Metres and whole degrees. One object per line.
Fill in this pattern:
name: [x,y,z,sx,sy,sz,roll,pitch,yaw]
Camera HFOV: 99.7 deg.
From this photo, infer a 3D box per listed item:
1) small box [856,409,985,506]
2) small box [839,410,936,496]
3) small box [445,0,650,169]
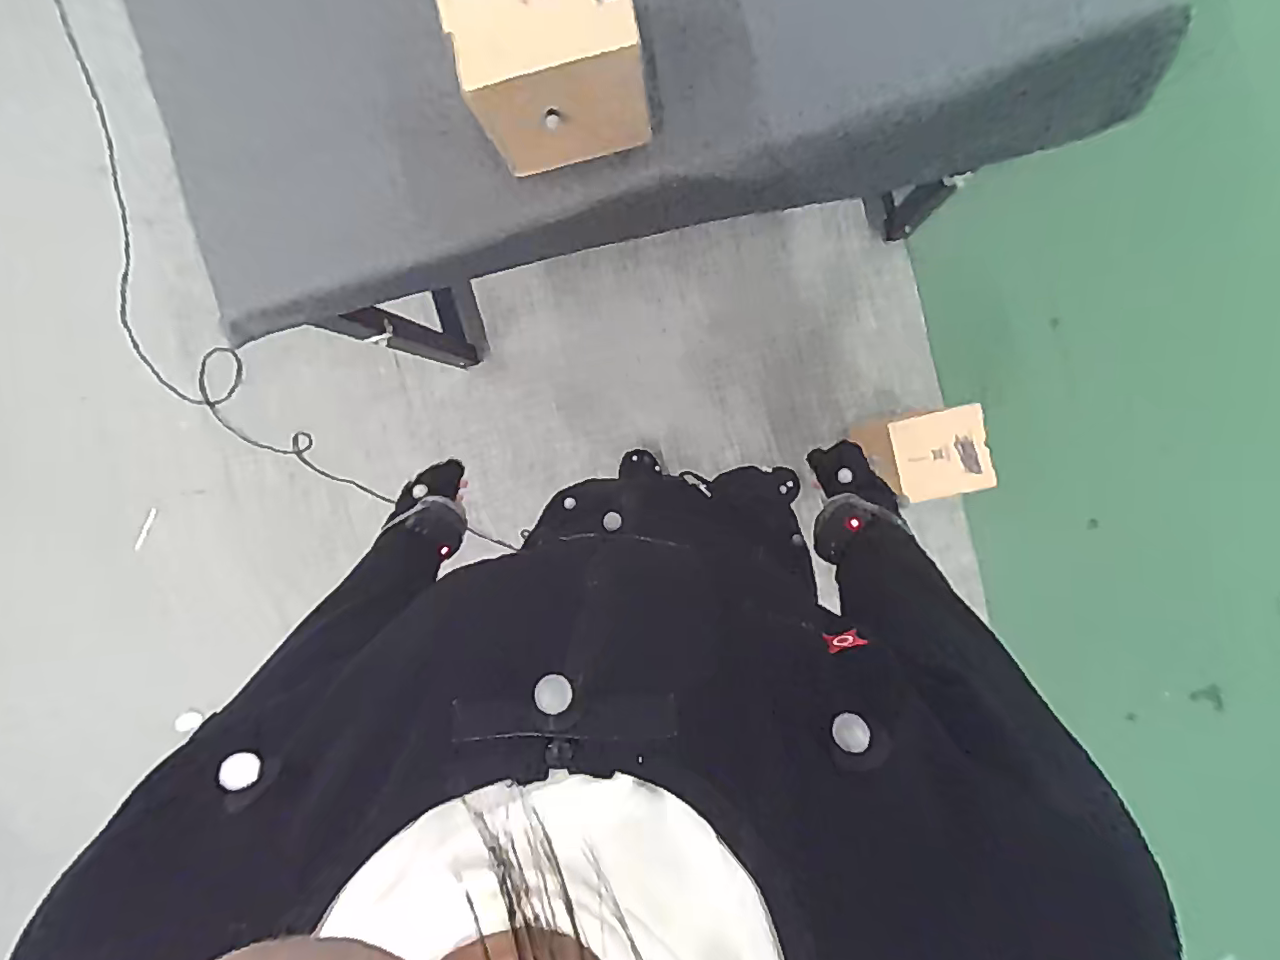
small box: [0.575,-0.049,1.130,0.179,0.176,0.168,-12,92,7]
small box: [0.601,-0.065,1.293,0.179,0.176,0.168,-14,92,7]
small box: [-0.093,-0.472,0.586,0.179,0.176,0.168,-11,93,6]
